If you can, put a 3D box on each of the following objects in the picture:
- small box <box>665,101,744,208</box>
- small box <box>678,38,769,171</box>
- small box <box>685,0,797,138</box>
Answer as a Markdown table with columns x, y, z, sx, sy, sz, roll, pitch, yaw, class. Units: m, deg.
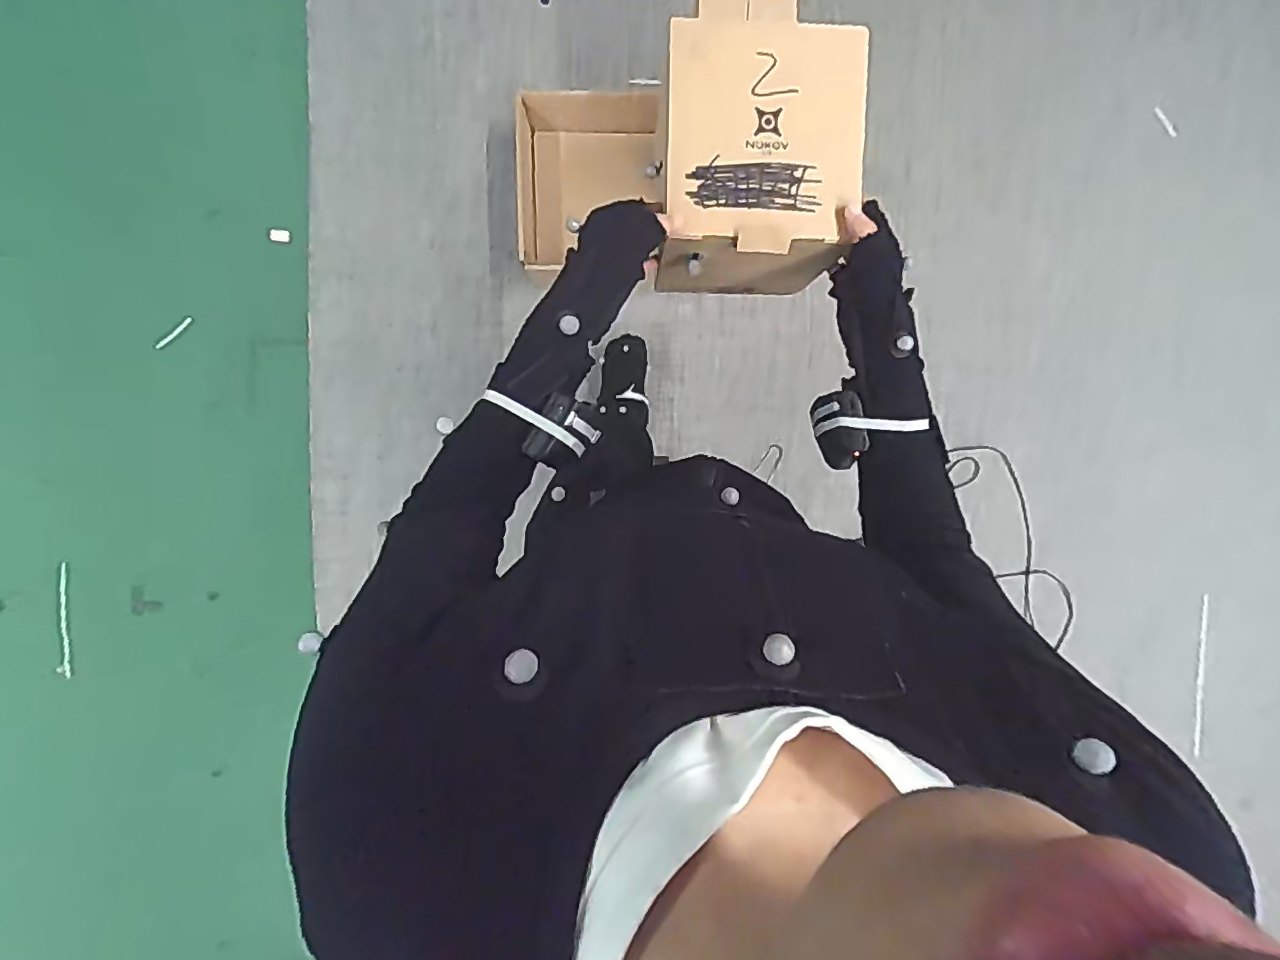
| x | y | z | sx | sy | sz | roll | pitch | yaw | class |
| --- | --- | --- | --- | --- | --- | --- | --- | --- | --- |
| 0.150 | -0.772 | 1.293 | 0.168 | 0.176 | 0.179 | -5 | 93 | 0 | small box |
| 0.170 | -0.761 | 1.112 | 0.168 | 0.176 | 0.179 | -1 | 94 | -1 | small box |
| 0.173 | -0.743 | 0.966 | 0.168 | 0.176 | 0.179 | 0 | 94 | -2 | small box |
